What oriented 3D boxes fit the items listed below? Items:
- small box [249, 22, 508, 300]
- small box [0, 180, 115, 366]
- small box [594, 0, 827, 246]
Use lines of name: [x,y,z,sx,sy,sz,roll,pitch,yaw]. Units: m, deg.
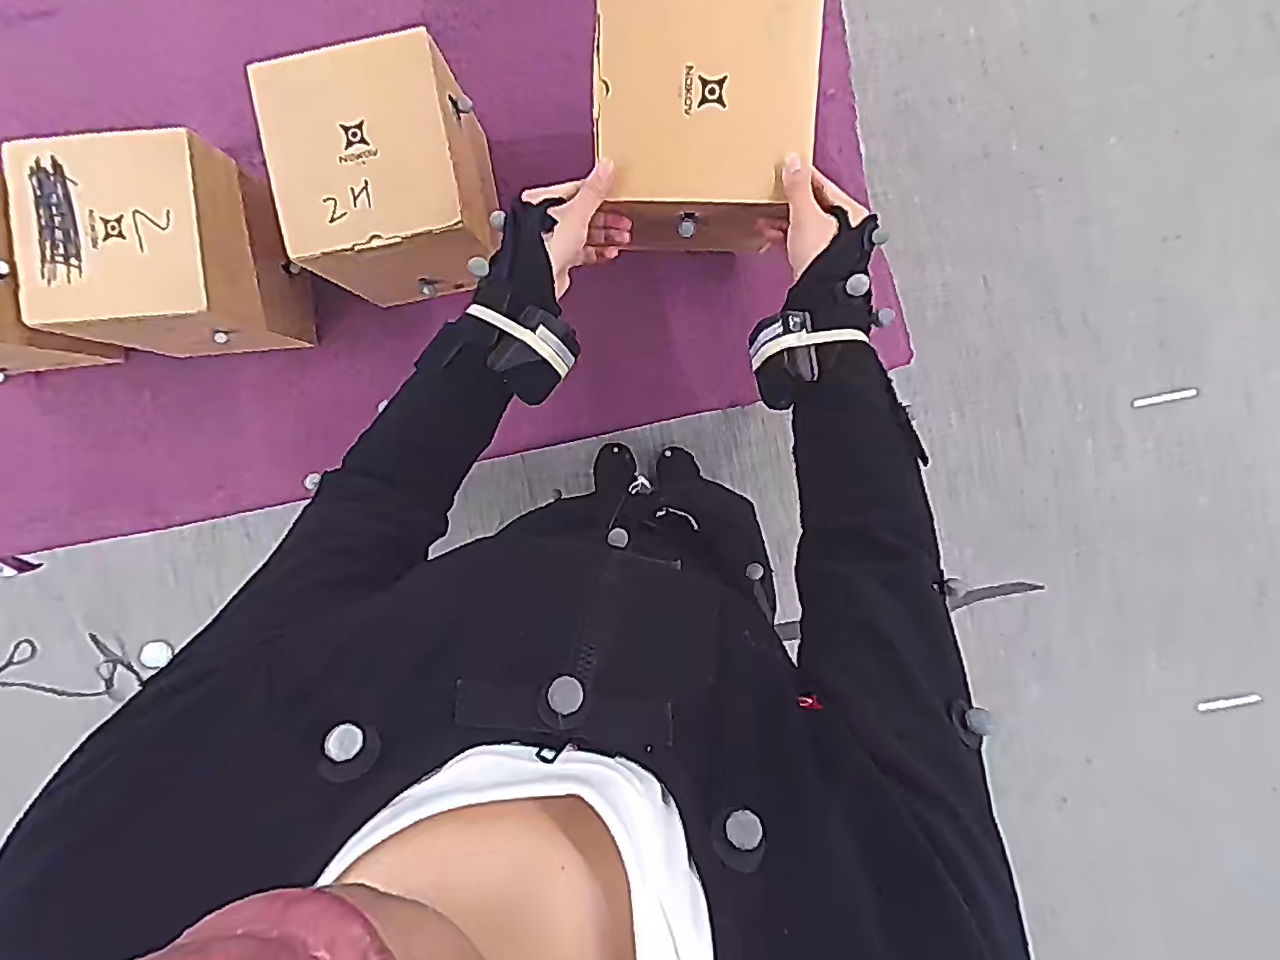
small box: [-0.249,-0.307,0.558,0.168,0.176,0.179,-10,93,3]
small box: [-0.719,-0.220,0.574,0.168,0.176,0.179,-6,94,1]
small box: [0.054,-0.324,0.501,0.179,0.176,0.168,2,101,1]
